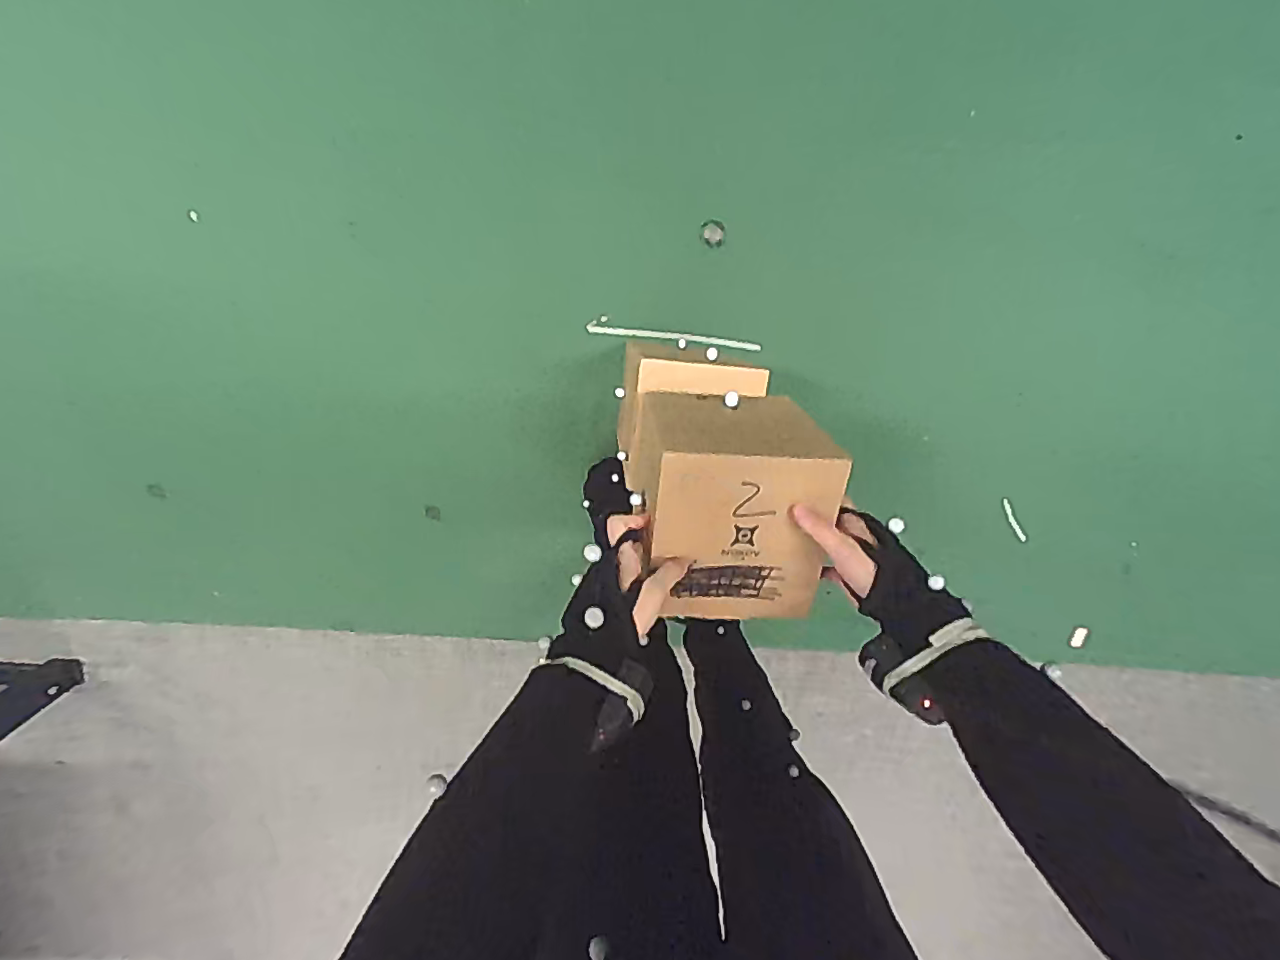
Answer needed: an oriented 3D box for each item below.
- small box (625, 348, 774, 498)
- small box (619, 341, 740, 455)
[{"bbox_3d":[0.071,-0.088,0.766,0.168,0.176,0.179,5,108,-7],"label":"small box"},{"bbox_3d":[0.056,-0.136,0.920,0.168,0.176,0.179,7,107,-6],"label":"small box"}]
